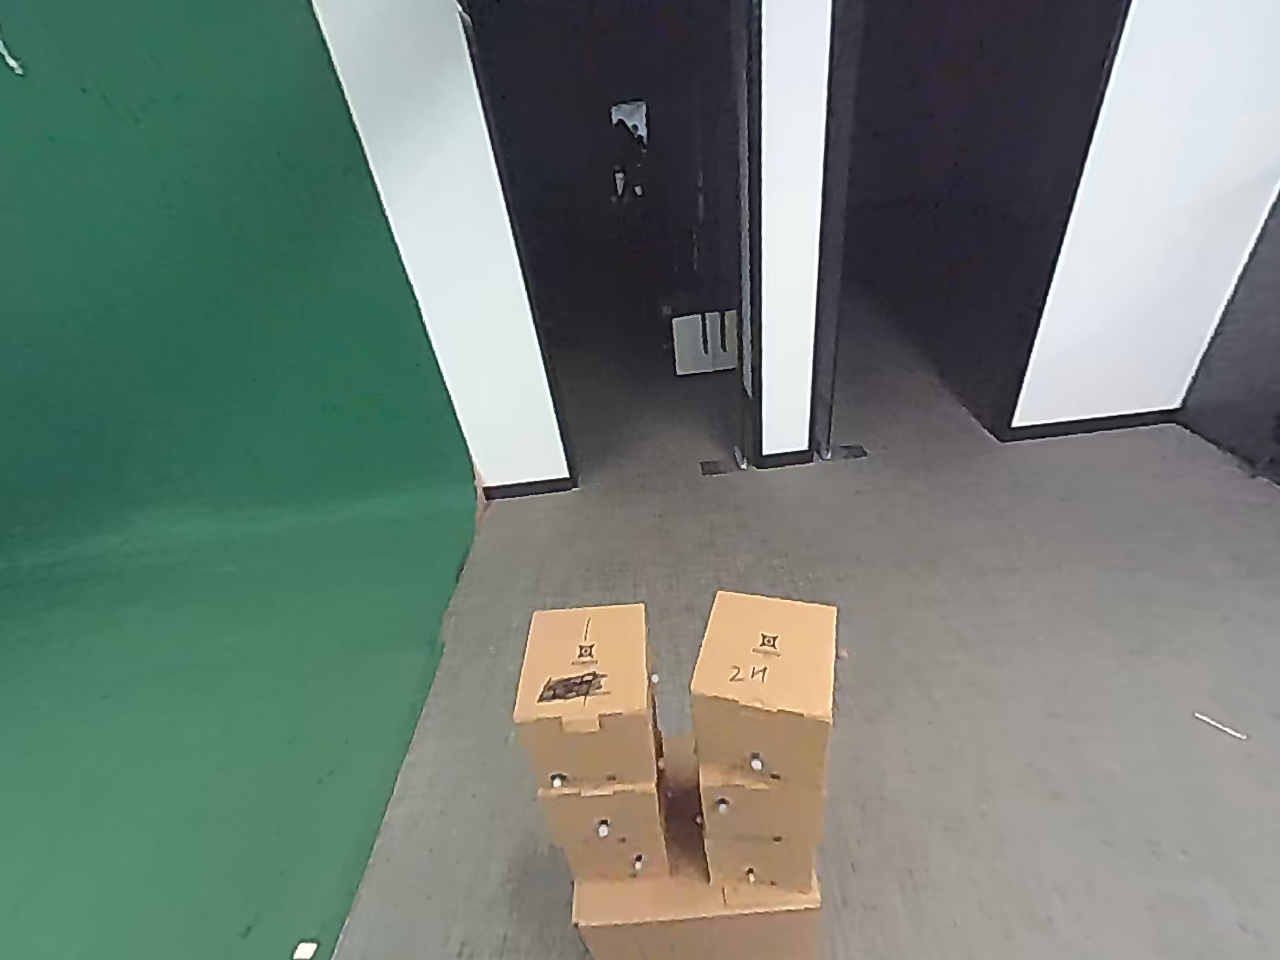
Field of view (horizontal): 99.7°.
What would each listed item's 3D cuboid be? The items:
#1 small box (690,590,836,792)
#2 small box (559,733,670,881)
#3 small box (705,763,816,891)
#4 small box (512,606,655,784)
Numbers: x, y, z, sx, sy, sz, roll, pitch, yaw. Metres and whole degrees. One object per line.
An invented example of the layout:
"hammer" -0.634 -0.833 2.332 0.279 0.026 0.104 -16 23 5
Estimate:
"small box" 0.171 0.280 0.736 0.168 0.176 0.179 4 35 19
"small box" -0.036 0.573 0.945 0.168 0.176 0.179 -4 34 3
"small box" 0.197 0.556 0.915 0.168 0.176 0.179 -3 34 9
"small box" -0.068 0.304 0.760 0.168 0.176 0.179 -5 33 2
